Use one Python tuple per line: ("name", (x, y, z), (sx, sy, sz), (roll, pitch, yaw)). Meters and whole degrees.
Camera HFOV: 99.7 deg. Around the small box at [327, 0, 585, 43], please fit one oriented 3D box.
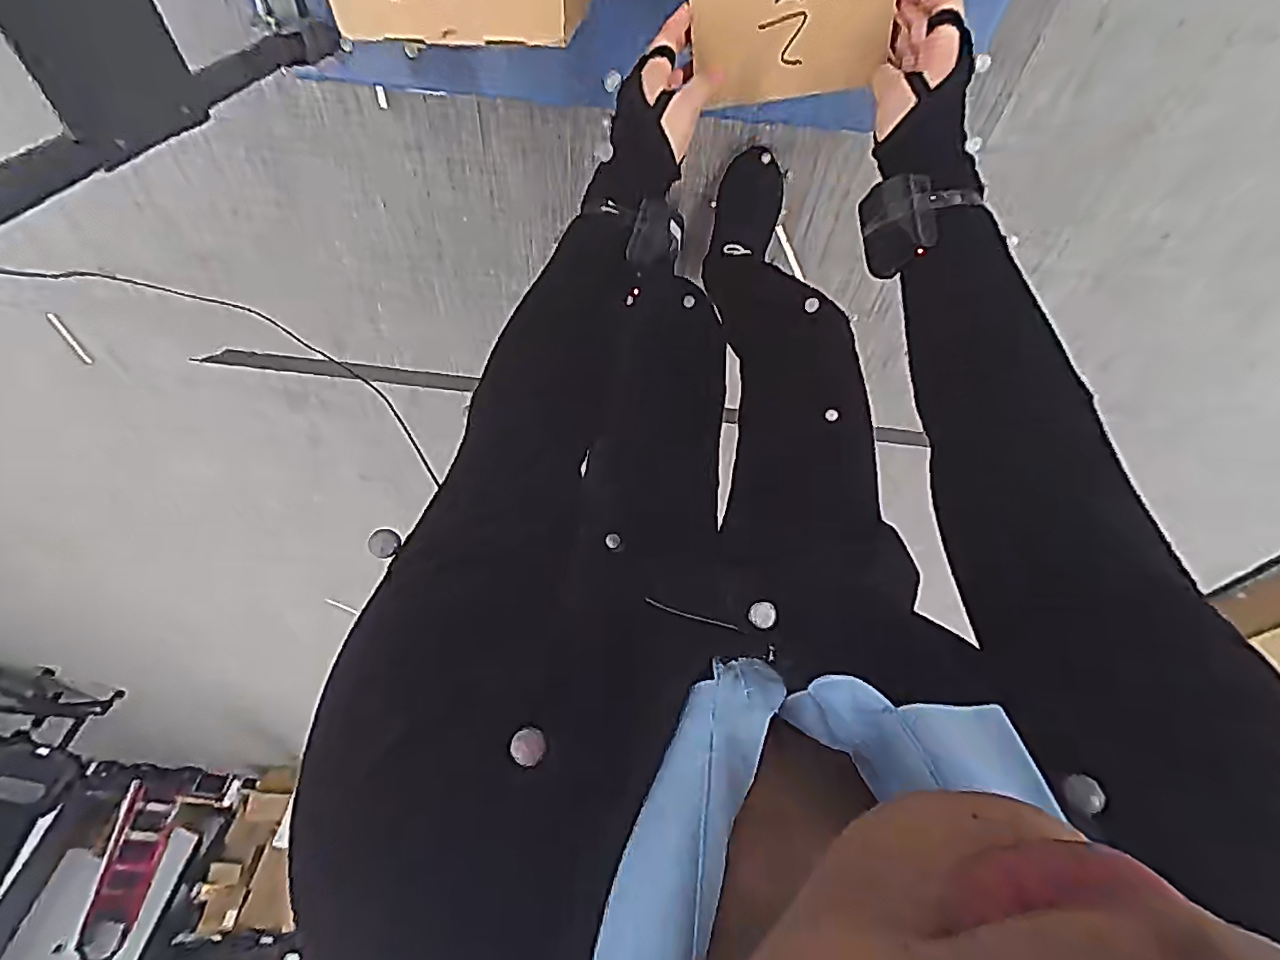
("small box", (-0.128, -0.431, 0.371), (0.168, 0.176, 0.179), (3, 140, 2))
